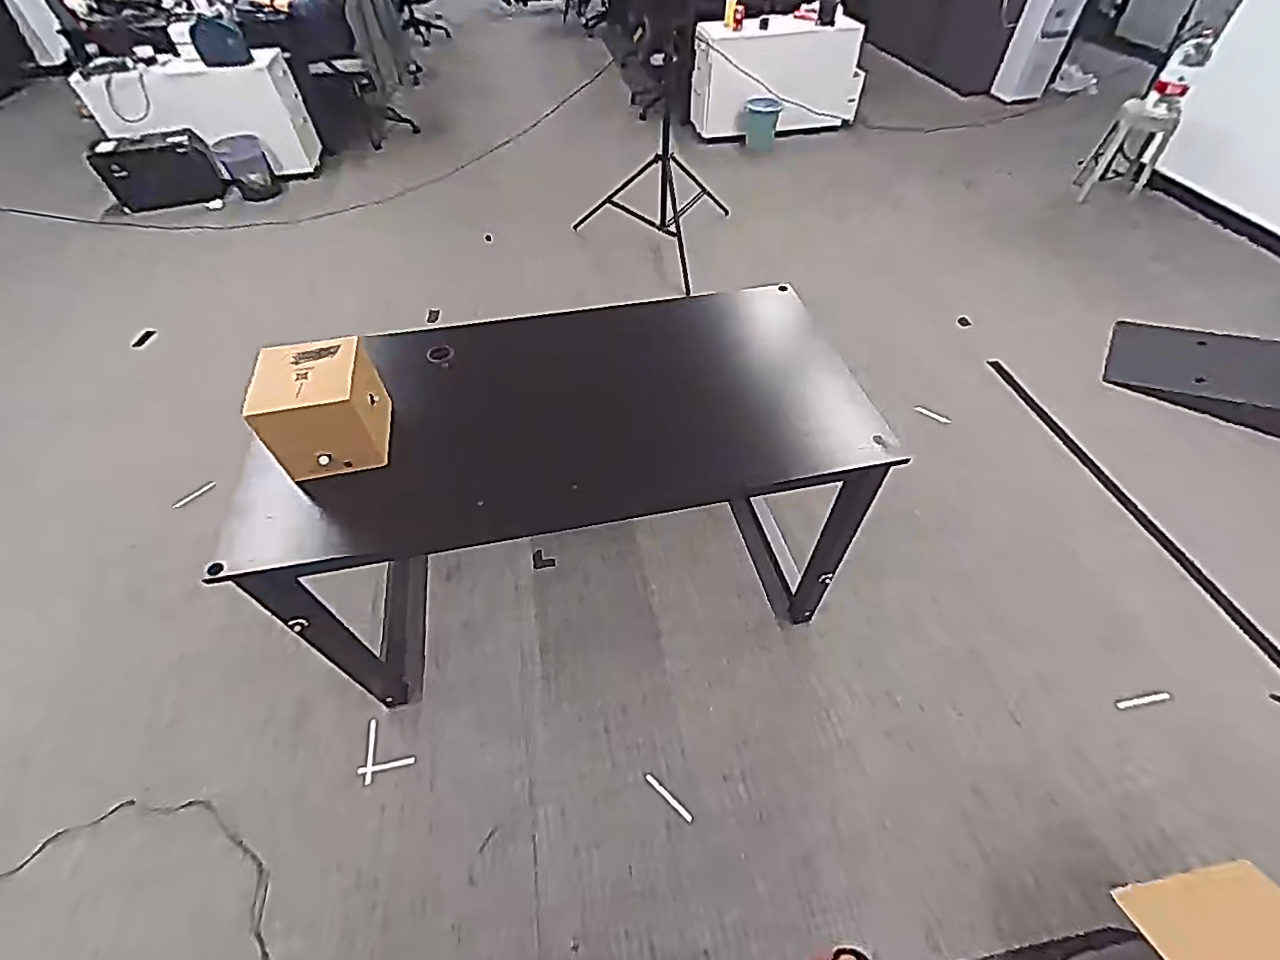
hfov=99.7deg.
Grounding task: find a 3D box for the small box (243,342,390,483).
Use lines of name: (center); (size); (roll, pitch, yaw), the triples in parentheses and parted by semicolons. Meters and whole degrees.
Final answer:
small box: (-0.566, -0.120, 0.975); (0.168, 0.176, 0.179); (-11, 52, -8)
